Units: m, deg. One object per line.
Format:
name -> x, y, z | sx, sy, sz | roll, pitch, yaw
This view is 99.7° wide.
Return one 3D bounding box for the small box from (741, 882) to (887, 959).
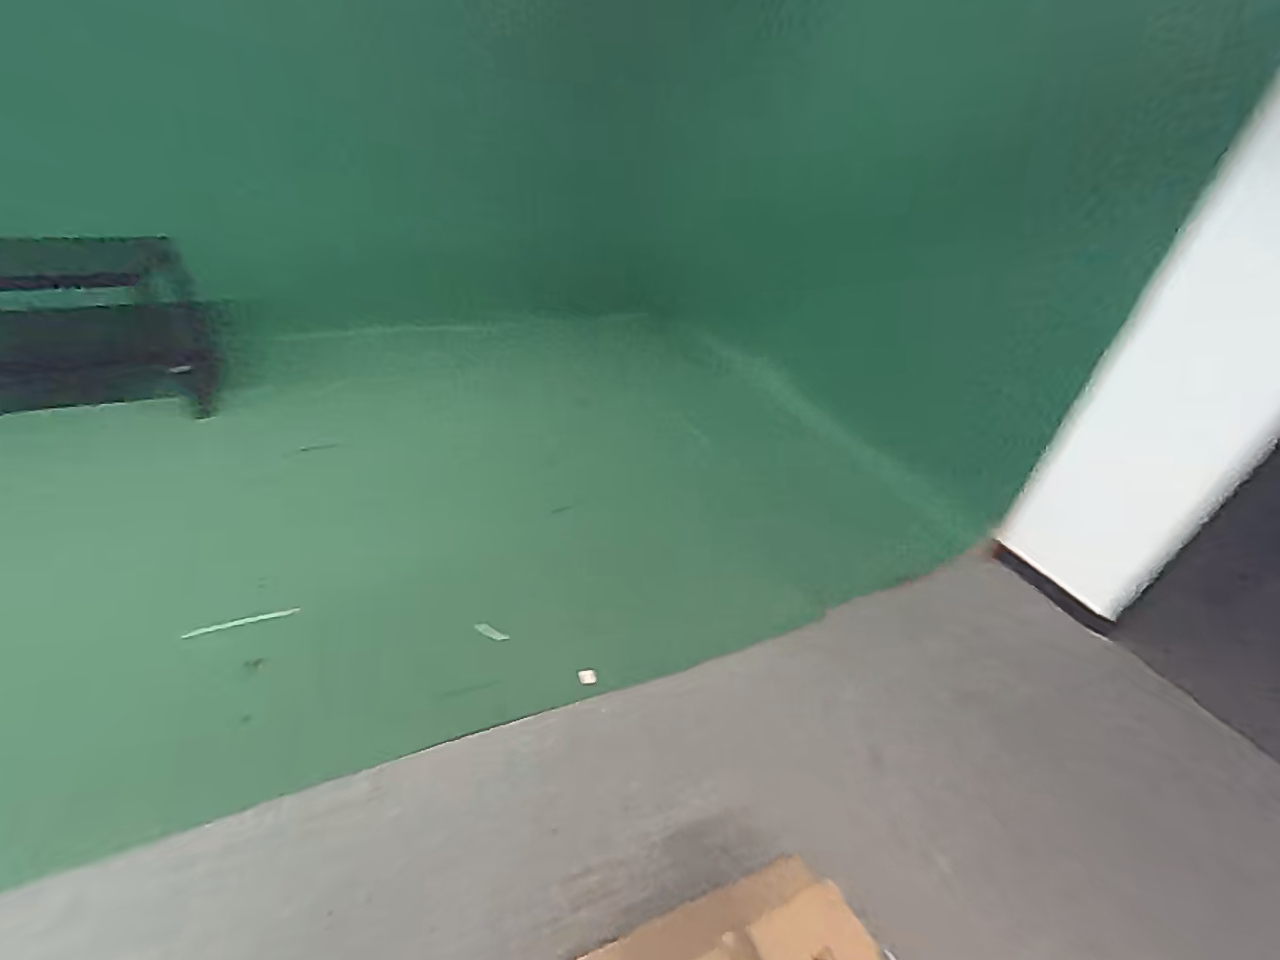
small box -> 0.281, 0.800, 0.868 | 0.179, 0.176, 0.168 | -12, 39, -23
